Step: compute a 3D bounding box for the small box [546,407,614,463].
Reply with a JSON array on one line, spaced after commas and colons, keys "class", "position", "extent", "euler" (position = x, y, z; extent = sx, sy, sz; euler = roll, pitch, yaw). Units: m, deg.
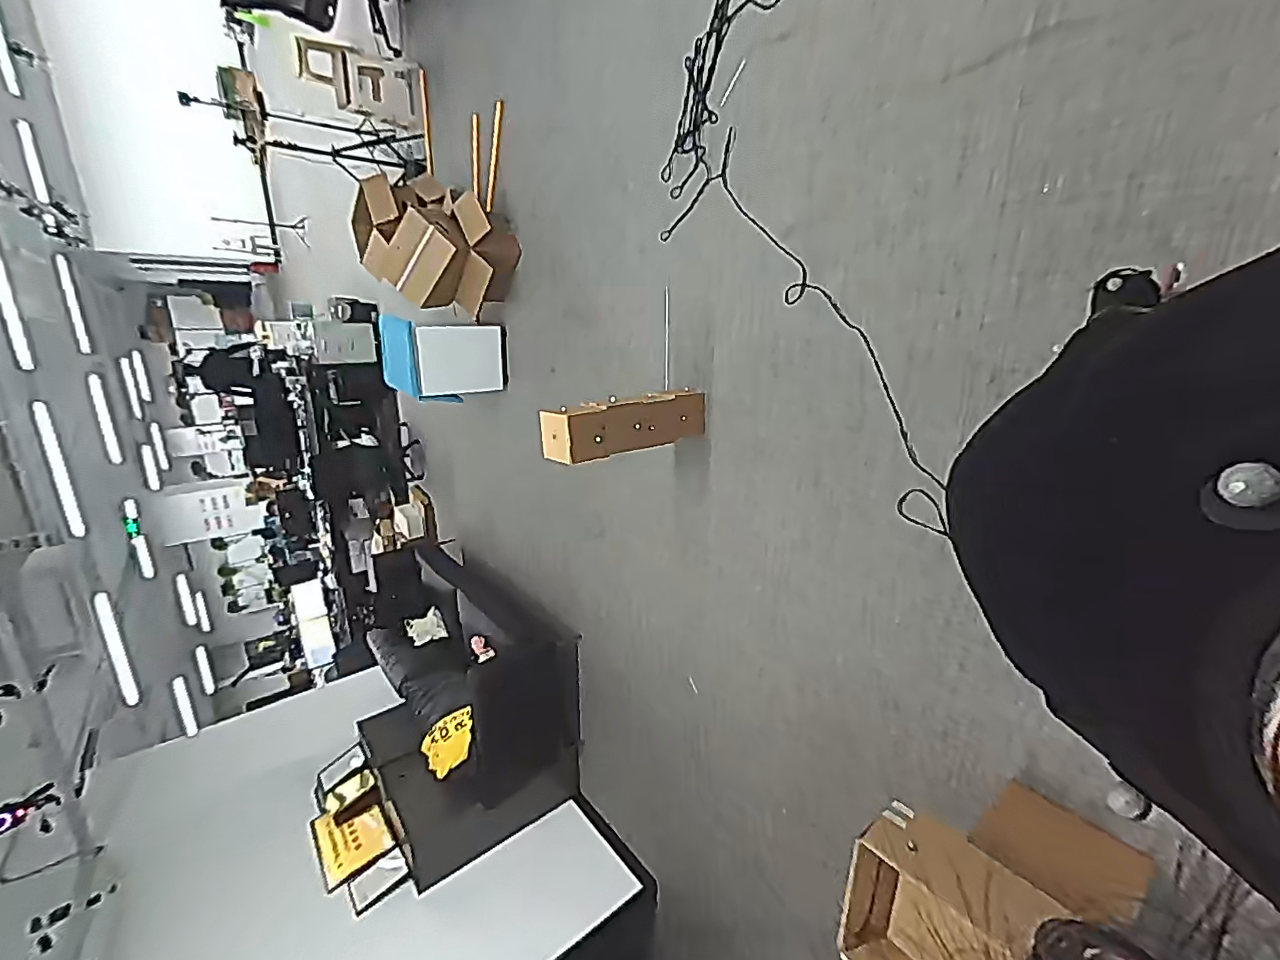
[{"class": "small box", "position": [-0.206, -0.162, 1.871], "extent": [0.179, 0.176, 0.168], "euler": [14, 112, 48]}]

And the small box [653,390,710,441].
[{"class": "small box", "position": [0.166, -0.264, 2.174], "extent": [0.168, 0.176, 0.179], "euler": [18, 114, 49]}]

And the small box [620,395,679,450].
[{"class": "small box", "position": [0.038, -0.225, 2.079], "extent": [0.168, 0.176, 0.179], "euler": [18, 114, 48]}]

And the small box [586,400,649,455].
[{"class": "small box", "position": [-0.081, -0.197, 1.969], "extent": [0.168, 0.176, 0.179], "euler": [15, 112, 50]}]
